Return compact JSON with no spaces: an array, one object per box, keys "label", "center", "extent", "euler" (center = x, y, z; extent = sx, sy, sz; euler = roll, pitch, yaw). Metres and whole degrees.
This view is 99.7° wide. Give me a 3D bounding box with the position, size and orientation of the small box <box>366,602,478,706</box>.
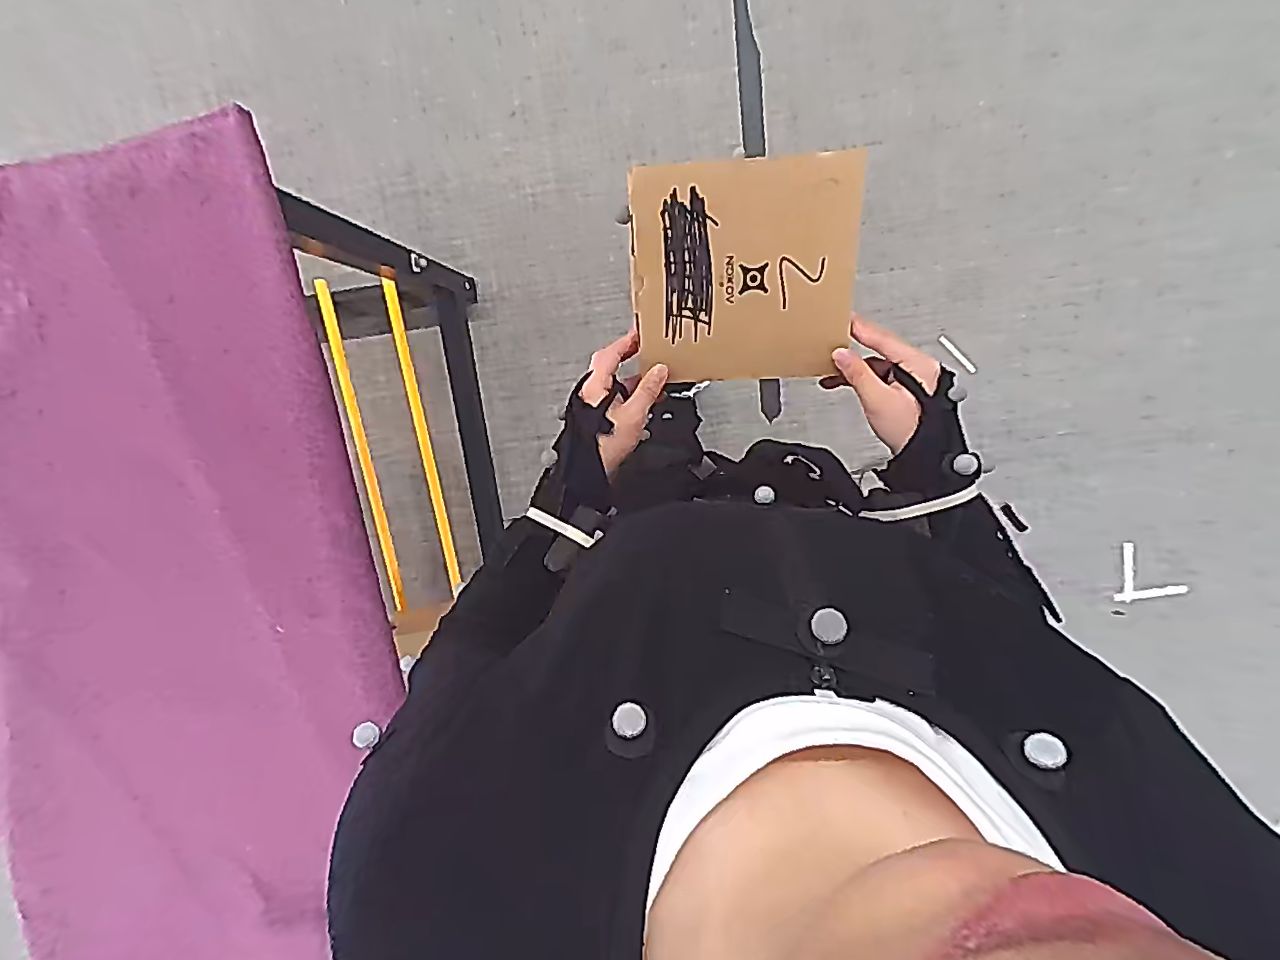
[{"label":"small box","center":[-0.512,0.408,1.292],"extent":[0.179,0.176,0.168],"euler":[-10,100,3]}]
